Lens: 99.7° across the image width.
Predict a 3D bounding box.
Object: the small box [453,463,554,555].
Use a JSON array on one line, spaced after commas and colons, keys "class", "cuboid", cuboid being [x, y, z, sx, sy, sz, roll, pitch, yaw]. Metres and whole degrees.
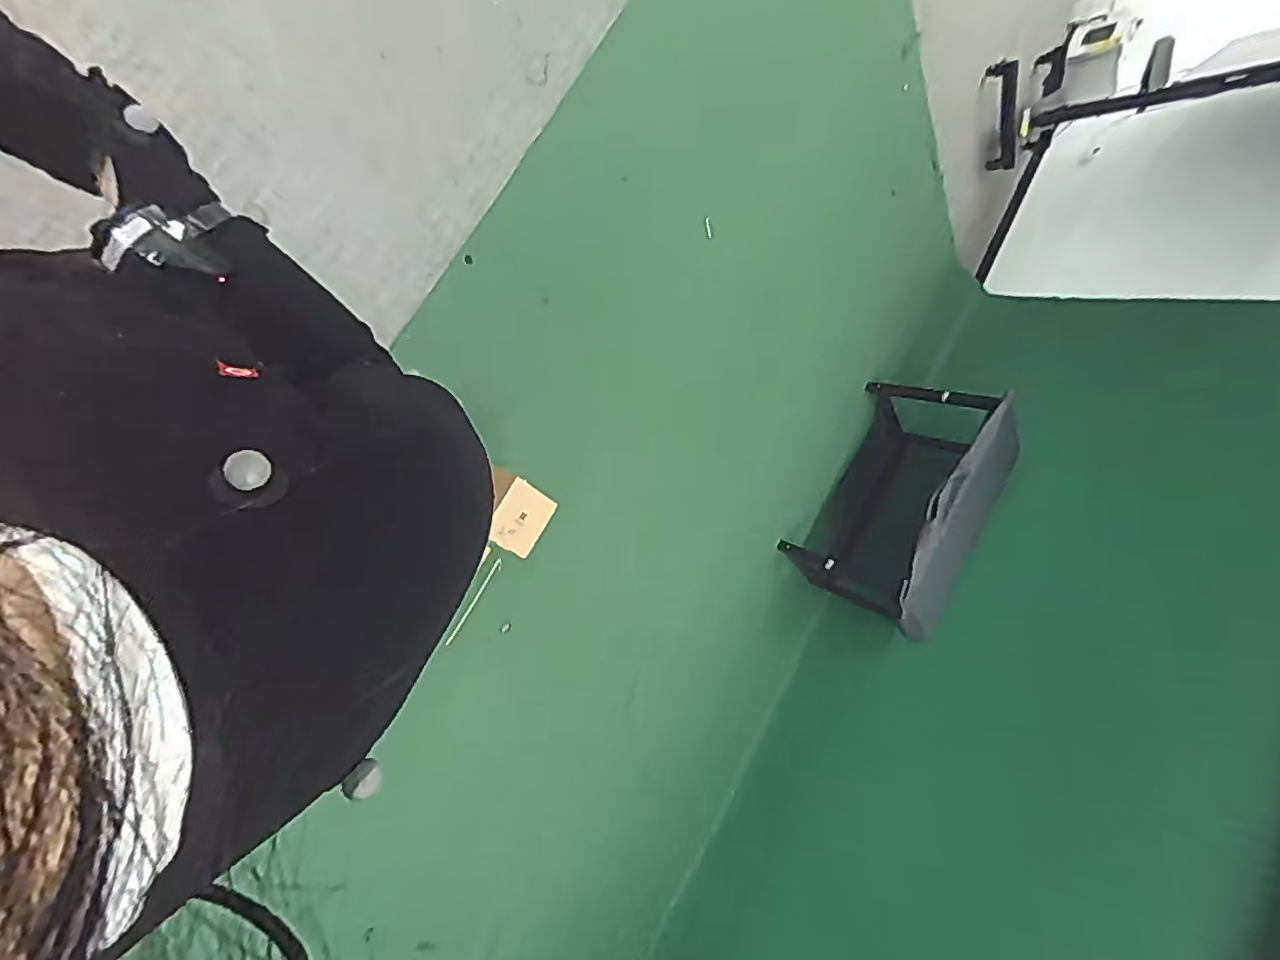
[{"class": "small box", "cuboid": [-0.378, 0.075, 1.481, 0.168, 0.176, 0.179, 42, 74, -44]}]
